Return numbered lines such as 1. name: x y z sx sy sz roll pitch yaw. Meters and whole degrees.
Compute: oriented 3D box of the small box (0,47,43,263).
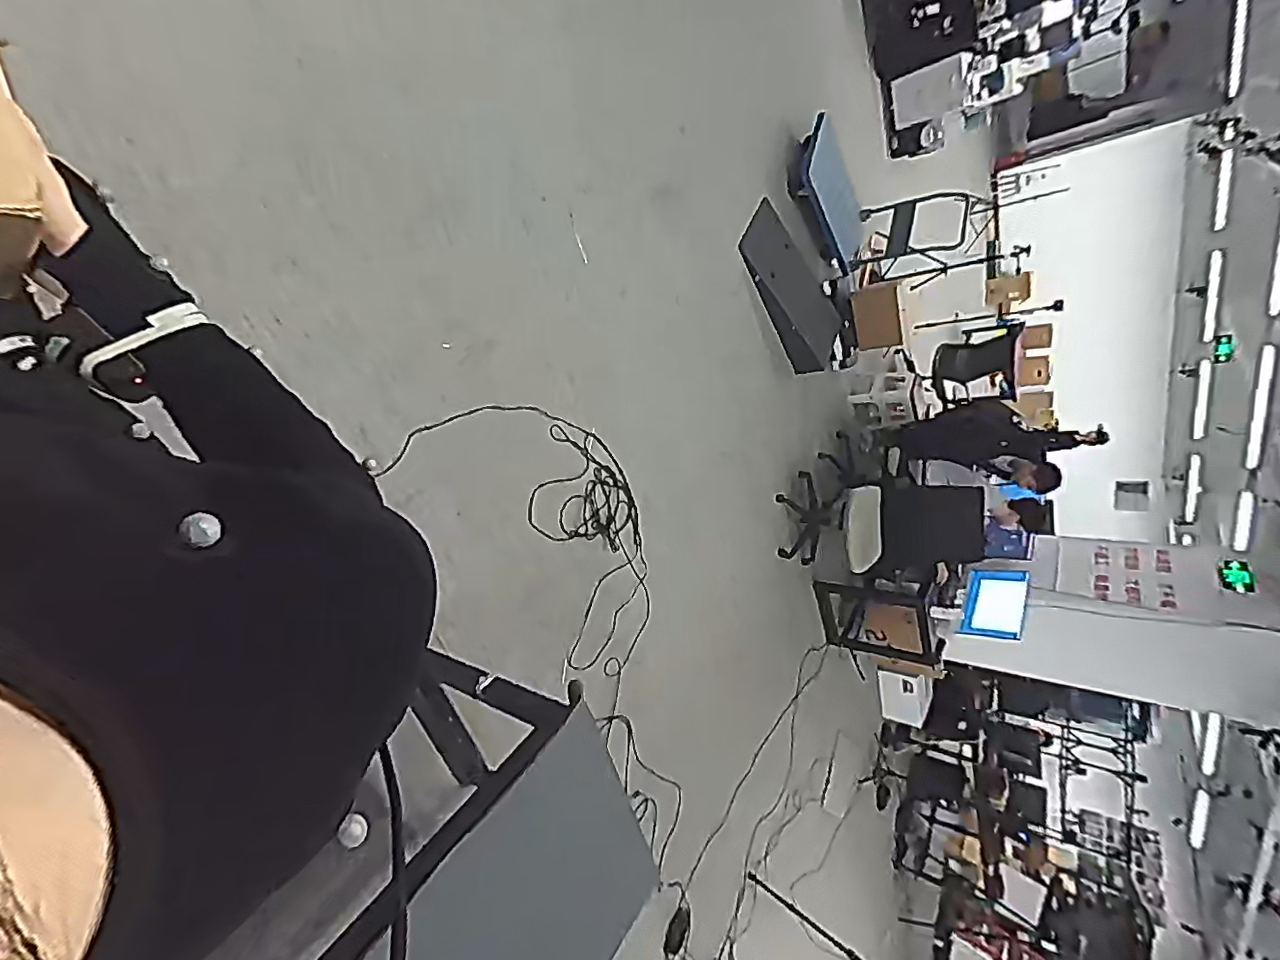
1. small box: -0.469 -0.224 0.280 0.168 0.176 0.179 -21 103 -54
